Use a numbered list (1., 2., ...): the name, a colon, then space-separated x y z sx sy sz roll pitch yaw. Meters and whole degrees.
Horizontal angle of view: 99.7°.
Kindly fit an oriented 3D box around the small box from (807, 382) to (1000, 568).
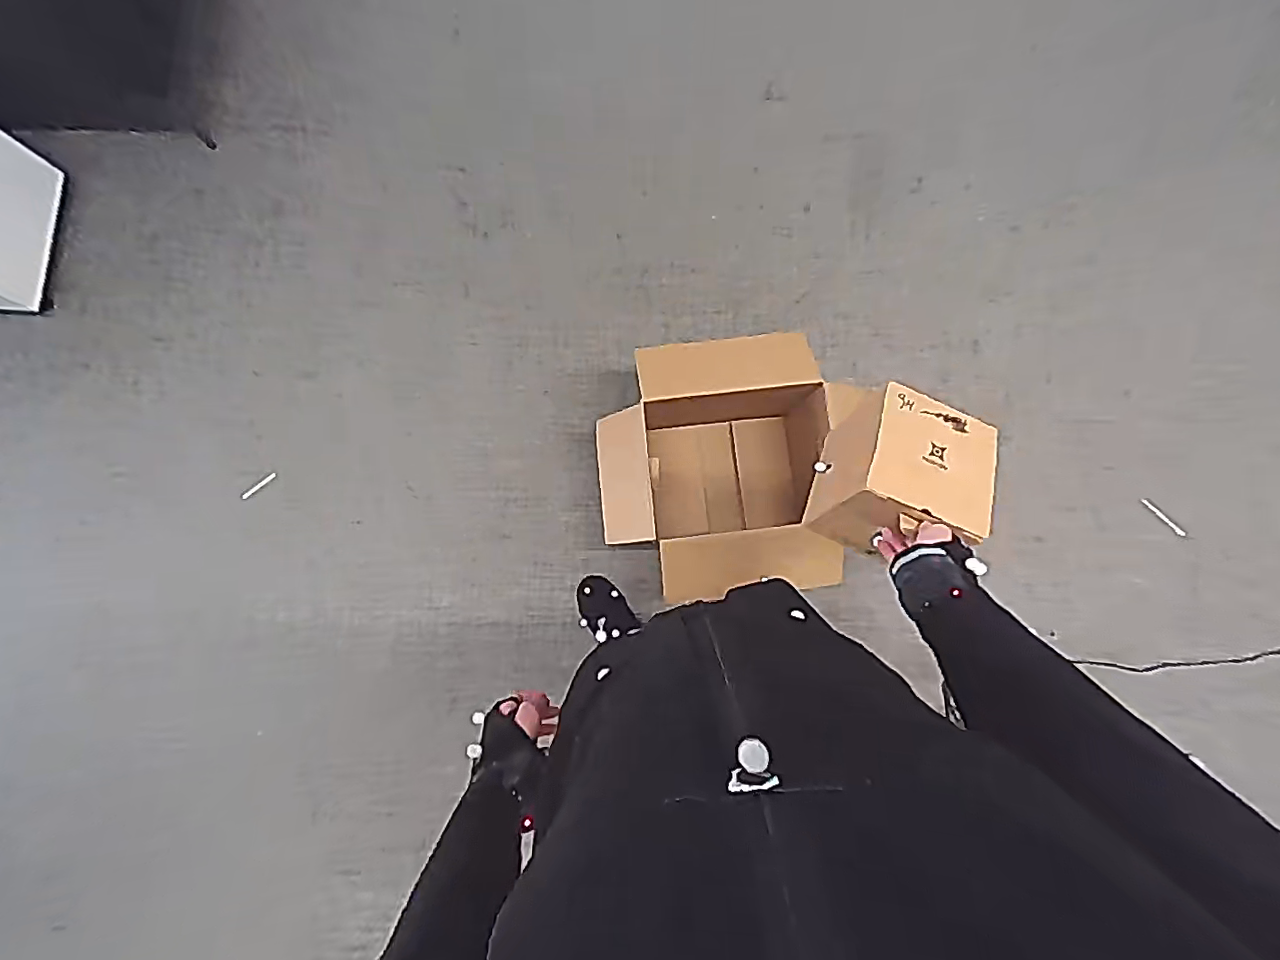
1. small box: 0.359 0.003 0.760 0.168 0.176 0.179 26 65 0
